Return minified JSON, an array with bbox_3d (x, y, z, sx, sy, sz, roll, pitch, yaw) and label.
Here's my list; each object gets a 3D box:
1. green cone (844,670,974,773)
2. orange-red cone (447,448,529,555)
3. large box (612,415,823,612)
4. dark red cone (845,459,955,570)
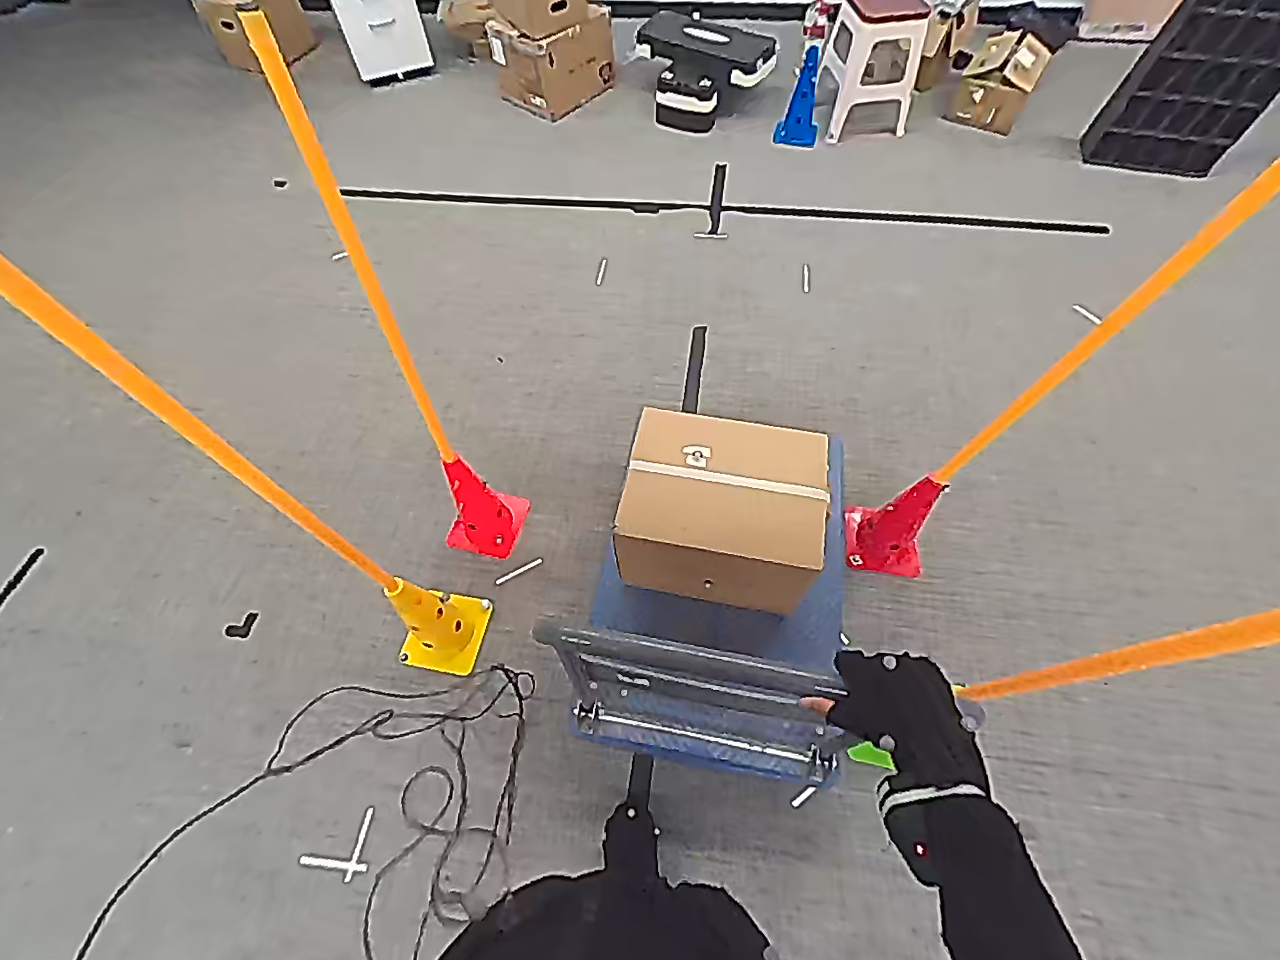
[{"bbox_3d":[0.593,0.489,1.151,0.202,0.368,0.200,10,60,6],"label":"green cone"},{"bbox_3d":[-0.448,0.026,1.455,0.198,0.360,0.199,14,59,8],"label":"orange-red cone"},{"bbox_3d":[0.176,0.085,1.236,0.408,0.320,0.320,10,61,8],"label":"large box"},{"bbox_3d":[0.683,0.068,1.376,0.201,0.394,0.202,7,60,4],"label":"dark red cone"}]
